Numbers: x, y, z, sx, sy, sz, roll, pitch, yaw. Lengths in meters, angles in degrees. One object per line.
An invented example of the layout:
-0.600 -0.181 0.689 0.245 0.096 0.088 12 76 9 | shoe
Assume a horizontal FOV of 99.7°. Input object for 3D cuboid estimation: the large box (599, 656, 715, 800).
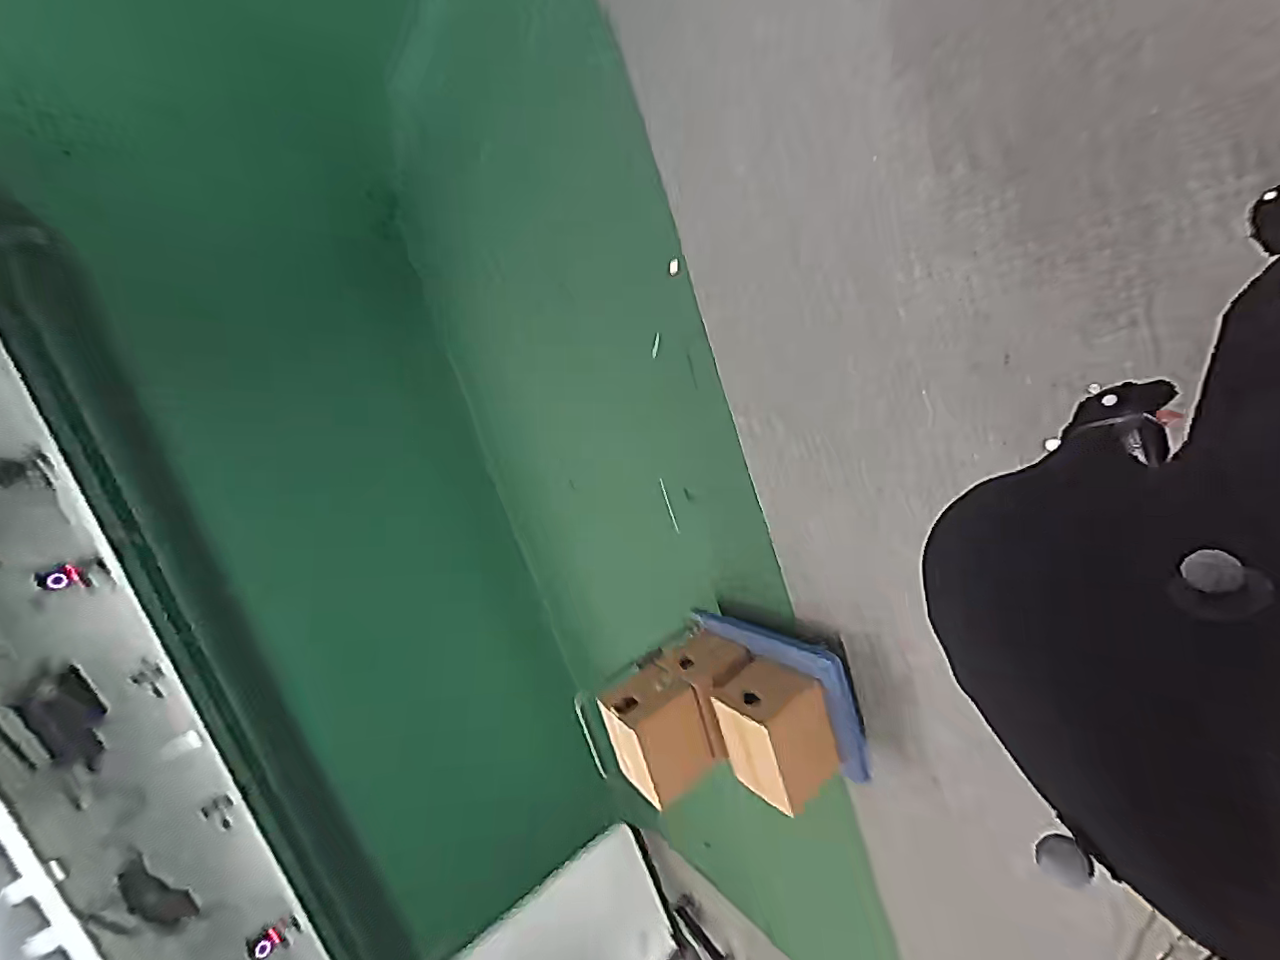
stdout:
0.076 1.049 2.334 0.320 0.320 0.408 9 120 58 | large box
